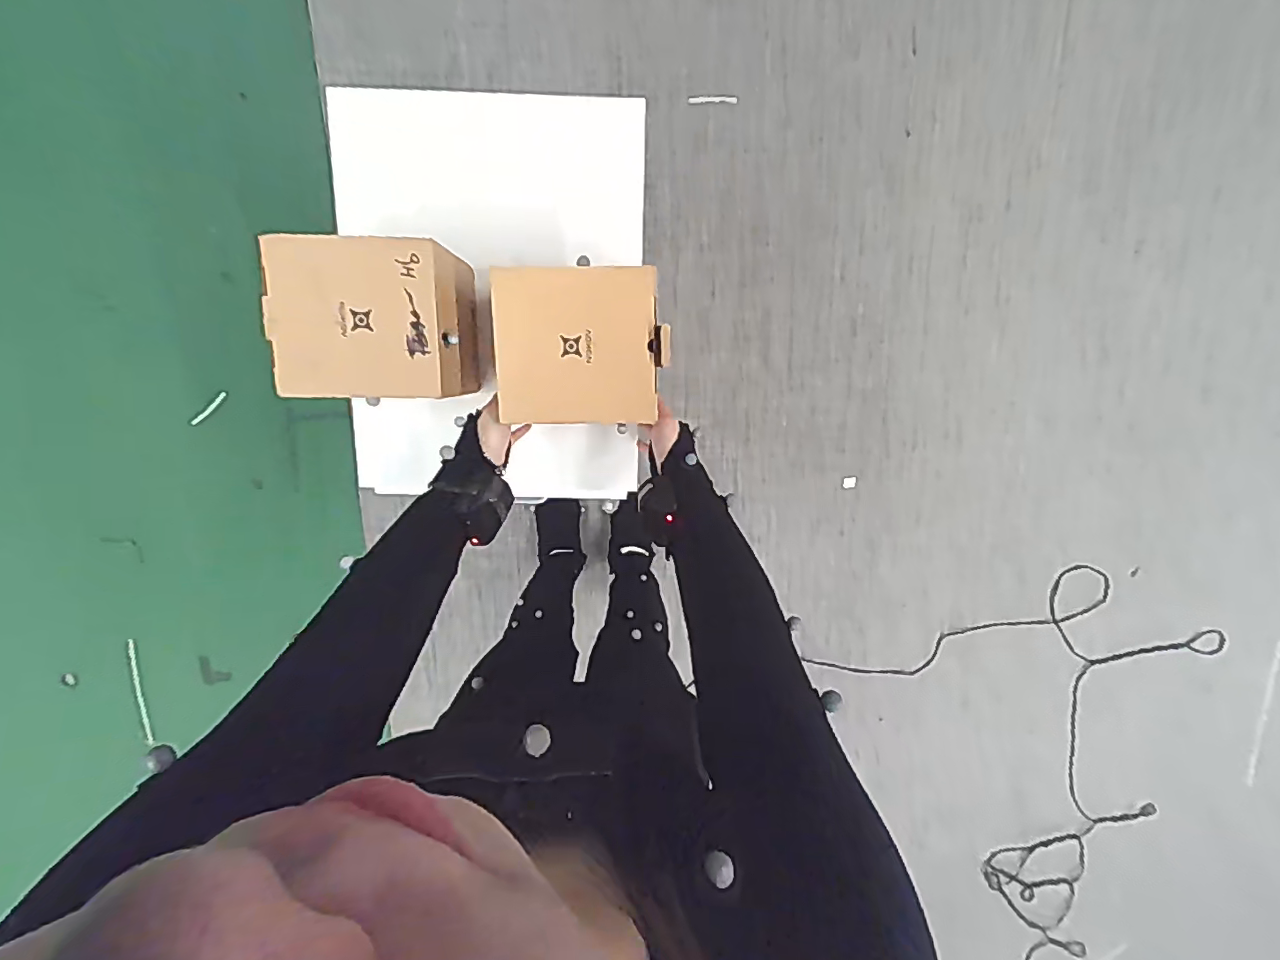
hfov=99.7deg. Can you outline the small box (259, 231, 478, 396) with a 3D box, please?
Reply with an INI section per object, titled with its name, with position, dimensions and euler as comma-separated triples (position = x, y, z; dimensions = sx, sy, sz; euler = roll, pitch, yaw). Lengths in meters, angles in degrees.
[small box]
position = -0.304, -0.187, 0.644
dimensions = 0.179, 0.176, 0.168
euler = 0, 102, -3
